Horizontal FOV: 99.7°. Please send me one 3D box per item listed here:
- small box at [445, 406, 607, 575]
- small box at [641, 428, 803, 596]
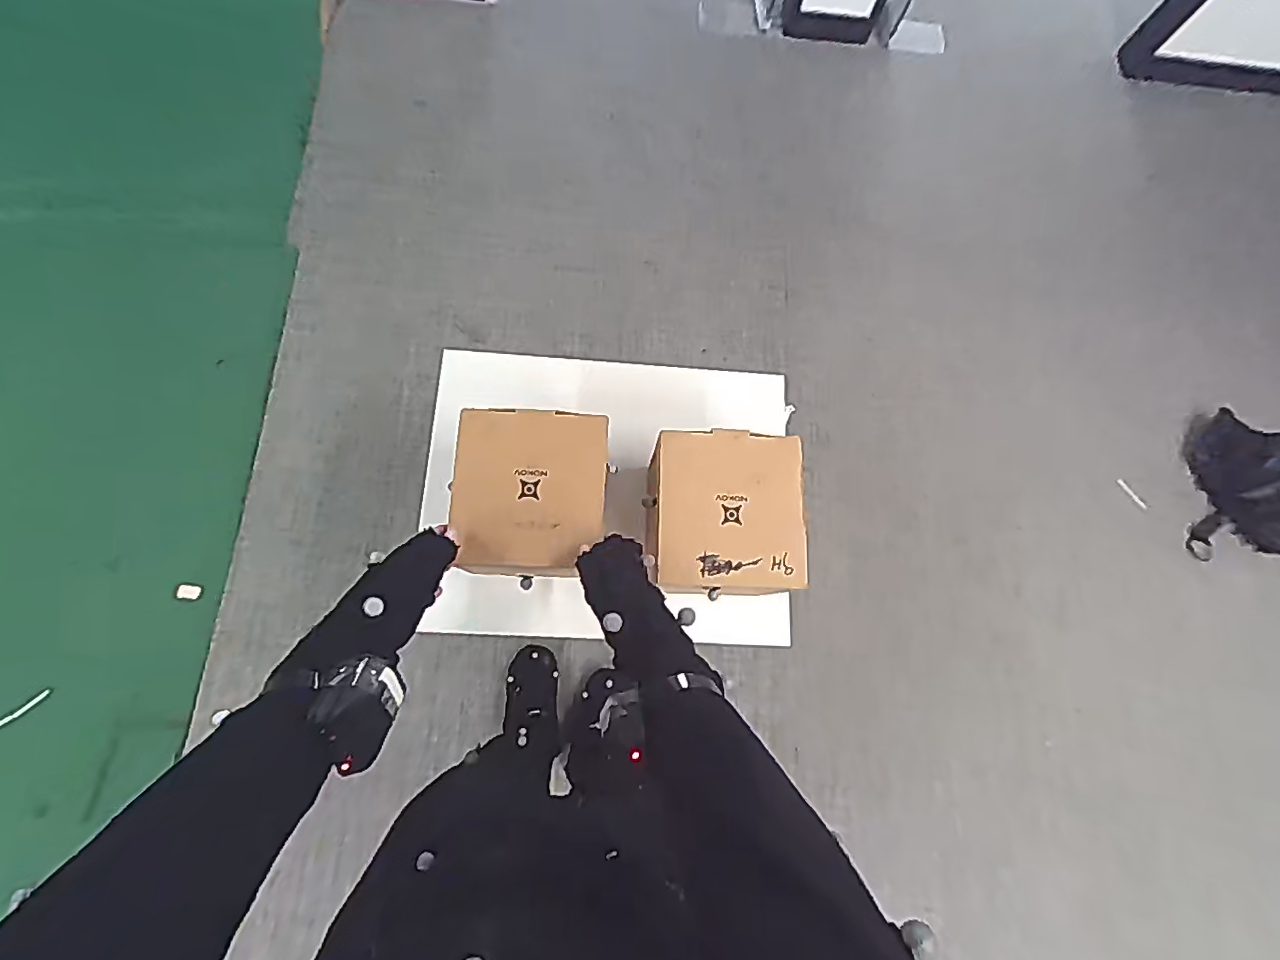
[{"bbox_3d":[-0.126,0.022,0.653,0.168,0.176,0.179,0,78,-5],"label":"small box"},{"bbox_3d":[0.091,0.049,0.678,0.168,0.176,0.179,3,75,-4],"label":"small box"}]
